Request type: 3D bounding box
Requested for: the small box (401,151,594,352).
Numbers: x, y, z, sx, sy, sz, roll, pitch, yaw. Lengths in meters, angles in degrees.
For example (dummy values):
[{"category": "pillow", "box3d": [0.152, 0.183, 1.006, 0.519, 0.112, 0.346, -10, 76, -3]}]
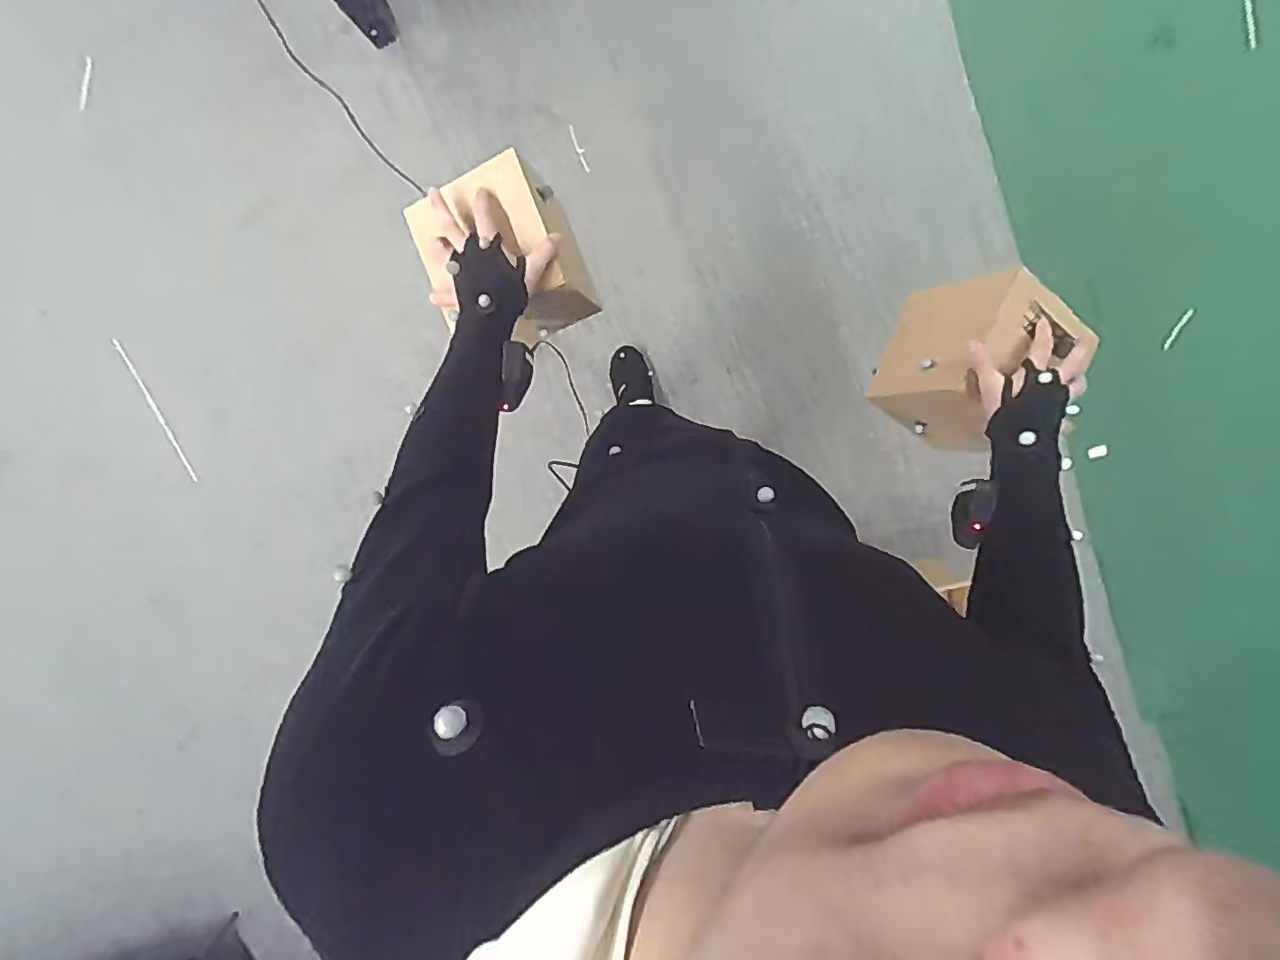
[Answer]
[{"category": "small box", "box3d": [-0.185, -0.297, 0.747, 0.168, 0.176, 0.179, -22, 90, 14]}]
